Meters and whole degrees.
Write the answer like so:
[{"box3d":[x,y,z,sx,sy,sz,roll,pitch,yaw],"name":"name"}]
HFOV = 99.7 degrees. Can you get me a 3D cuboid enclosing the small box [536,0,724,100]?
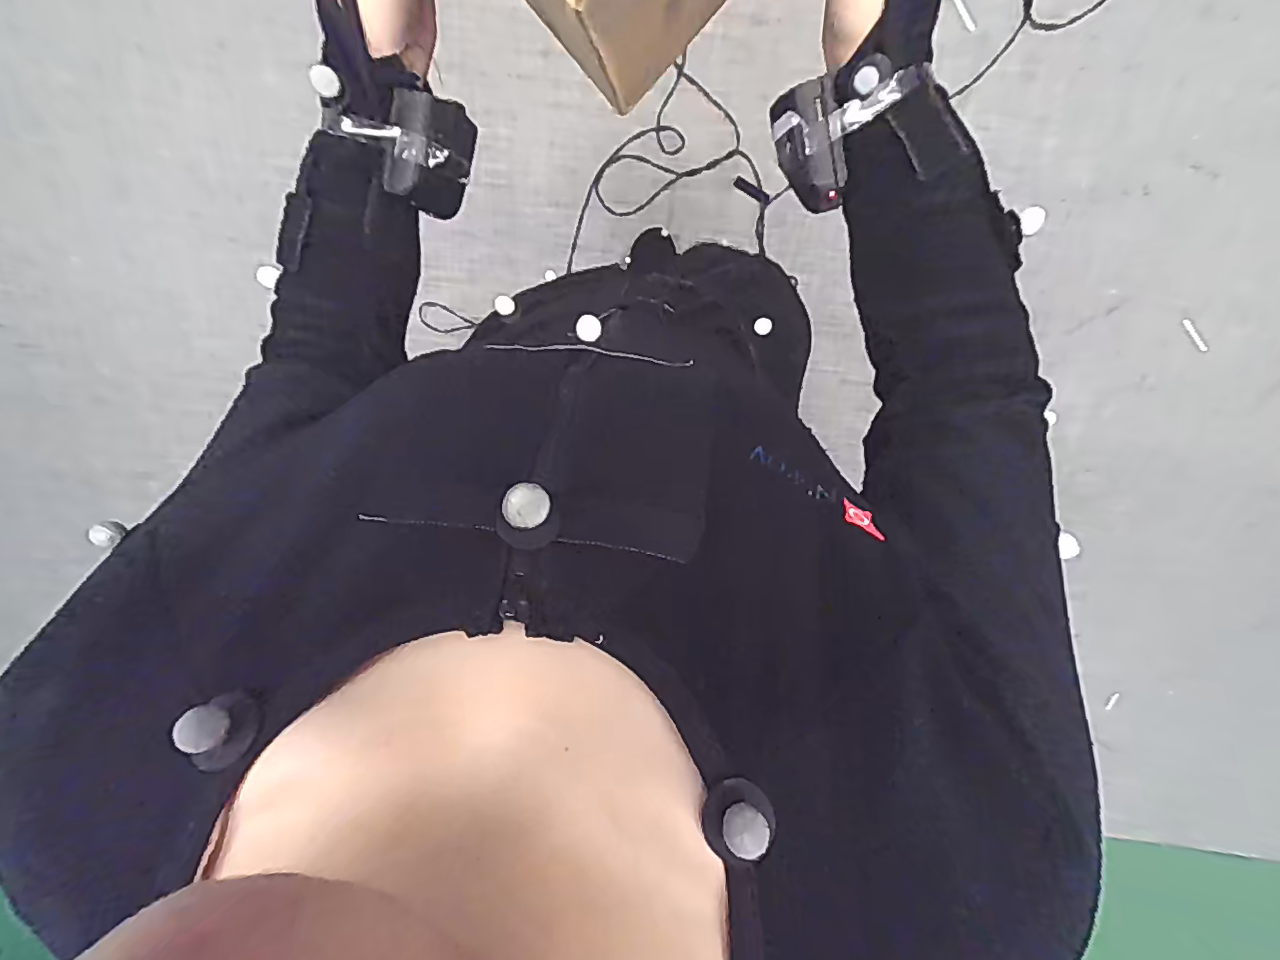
[{"box3d":[-0.011,-0.334,0.259,0.179,0.176,0.168,-41,102,18],"name":"small box"}]
